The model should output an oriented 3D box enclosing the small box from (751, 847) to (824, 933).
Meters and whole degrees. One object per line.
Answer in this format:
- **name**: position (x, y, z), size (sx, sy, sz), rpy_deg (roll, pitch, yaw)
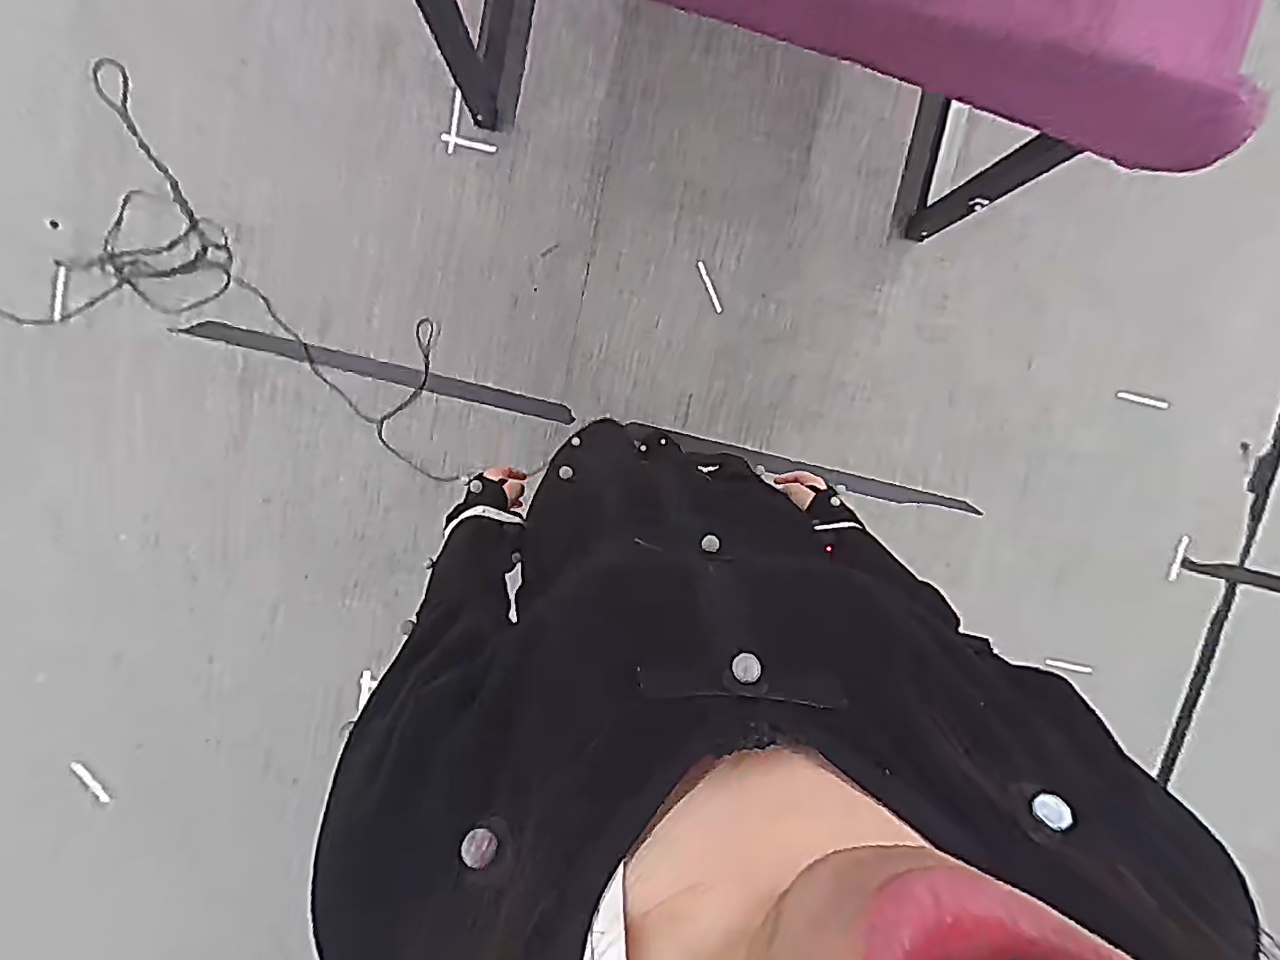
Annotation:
- **small box**: position (0.438, 1.230, 1.582), size (0.179, 0.176, 0.168), rpy_deg (-25, 99, 3)
